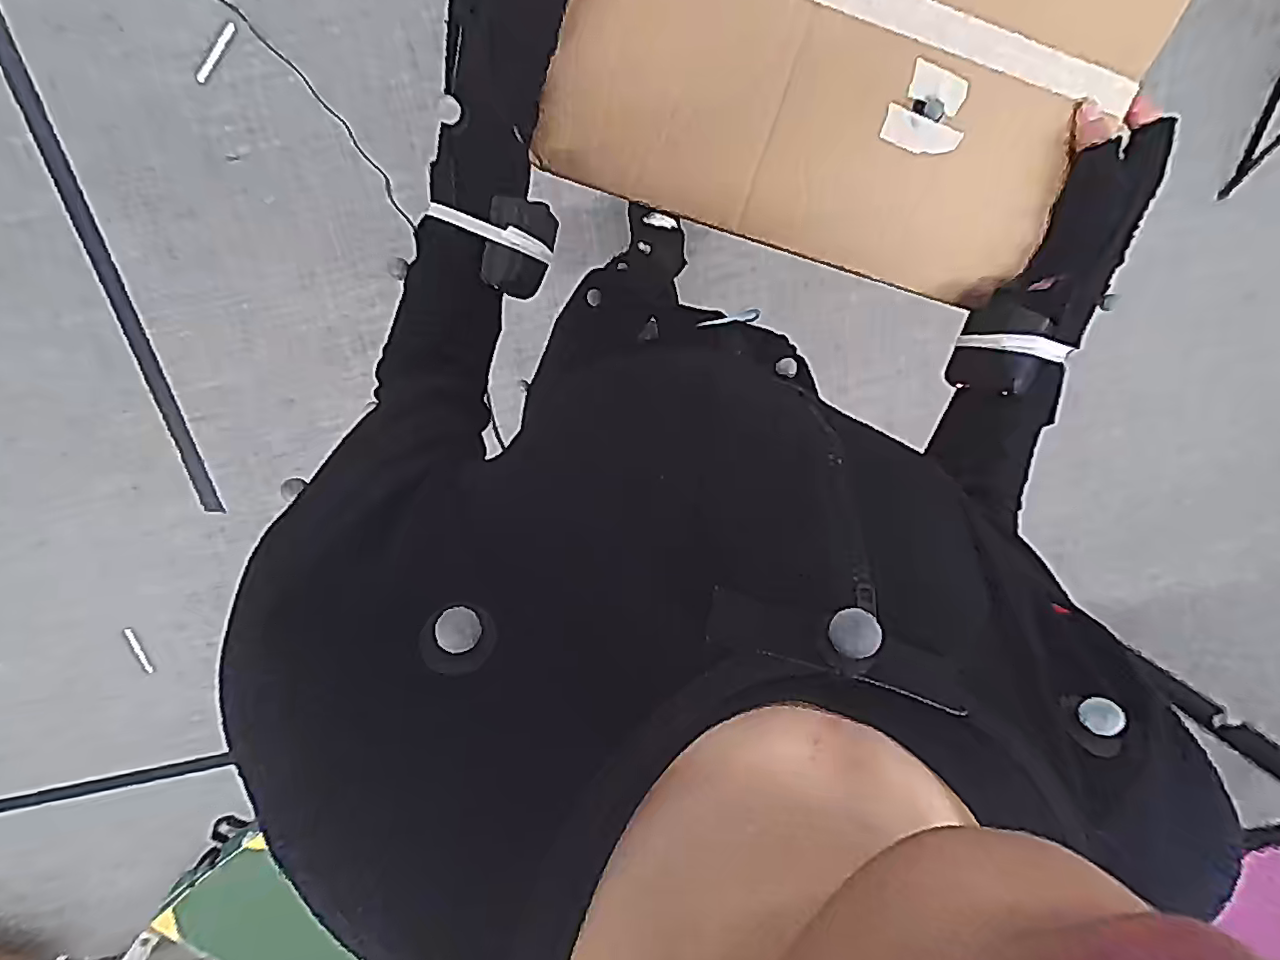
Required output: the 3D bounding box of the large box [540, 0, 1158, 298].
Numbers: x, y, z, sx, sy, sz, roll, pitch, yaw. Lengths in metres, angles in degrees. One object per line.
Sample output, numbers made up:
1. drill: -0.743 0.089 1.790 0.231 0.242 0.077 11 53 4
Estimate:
1. large box: 0.148 -0.403 0.504 0.408 0.320 0.320 14 119 -9
